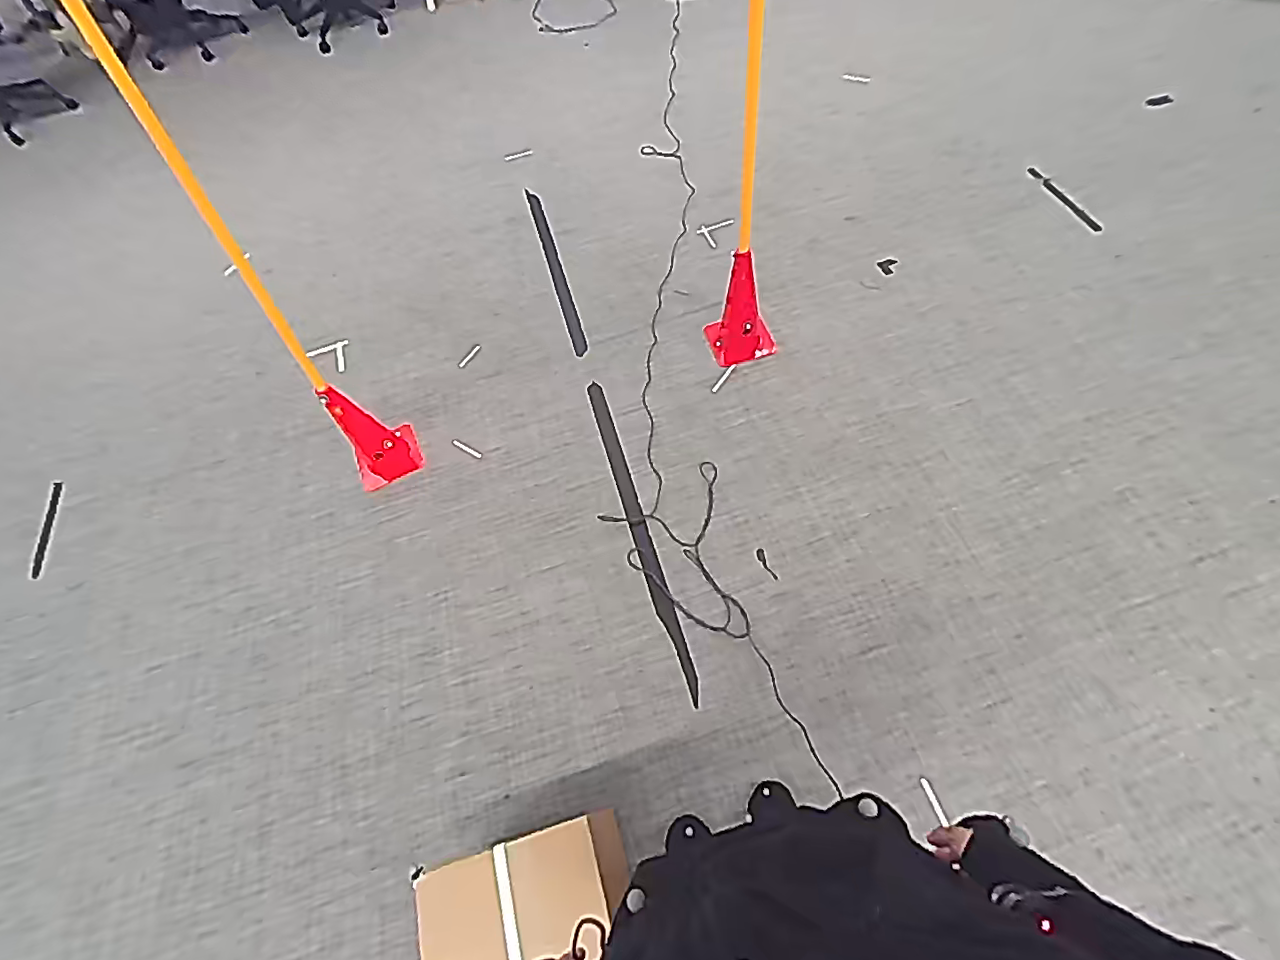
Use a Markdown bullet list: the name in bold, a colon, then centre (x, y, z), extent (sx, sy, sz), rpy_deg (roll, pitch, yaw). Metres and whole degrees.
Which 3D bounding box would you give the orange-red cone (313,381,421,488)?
- **orange-red cone**: centre (-0.830, -0.163, 1.585), extent (0.199, 0.360, 0.198), rpy_deg (-26, 60, -6)
